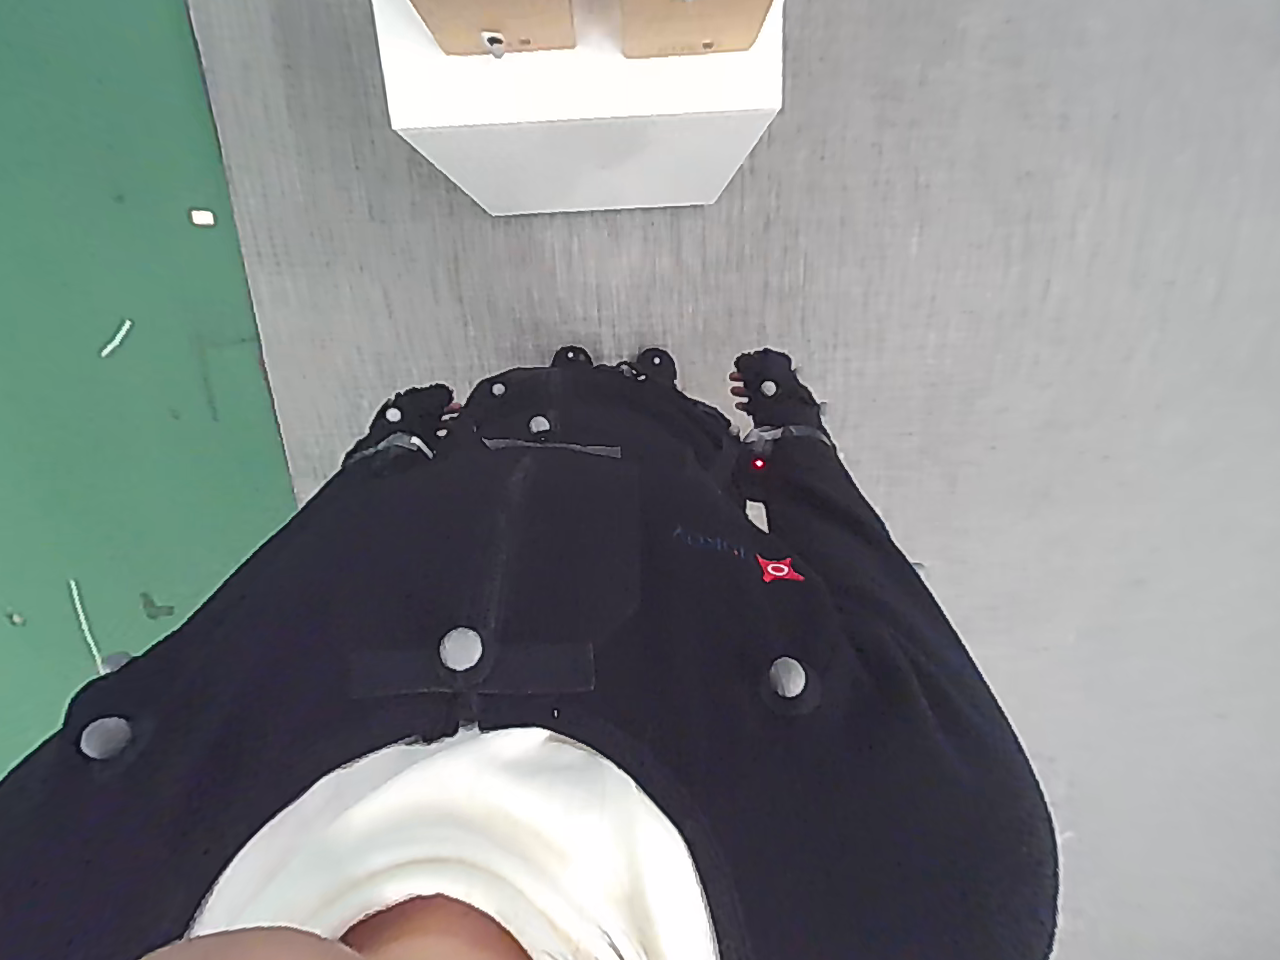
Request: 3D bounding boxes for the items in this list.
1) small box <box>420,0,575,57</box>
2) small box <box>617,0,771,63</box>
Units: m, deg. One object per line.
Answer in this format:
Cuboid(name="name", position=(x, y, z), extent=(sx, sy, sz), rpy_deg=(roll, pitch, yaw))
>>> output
Cuboid(name="small box", position=(-0.165, -0.595, 0.574), extent=(0.168, 0.176, 0.179), rpy_deg=(-5, 106, 0))
Cuboid(name="small box", position=(0.055, -0.601, 0.592), extent=(0.168, 0.176, 0.179), rpy_deg=(-3, 104, -1))
